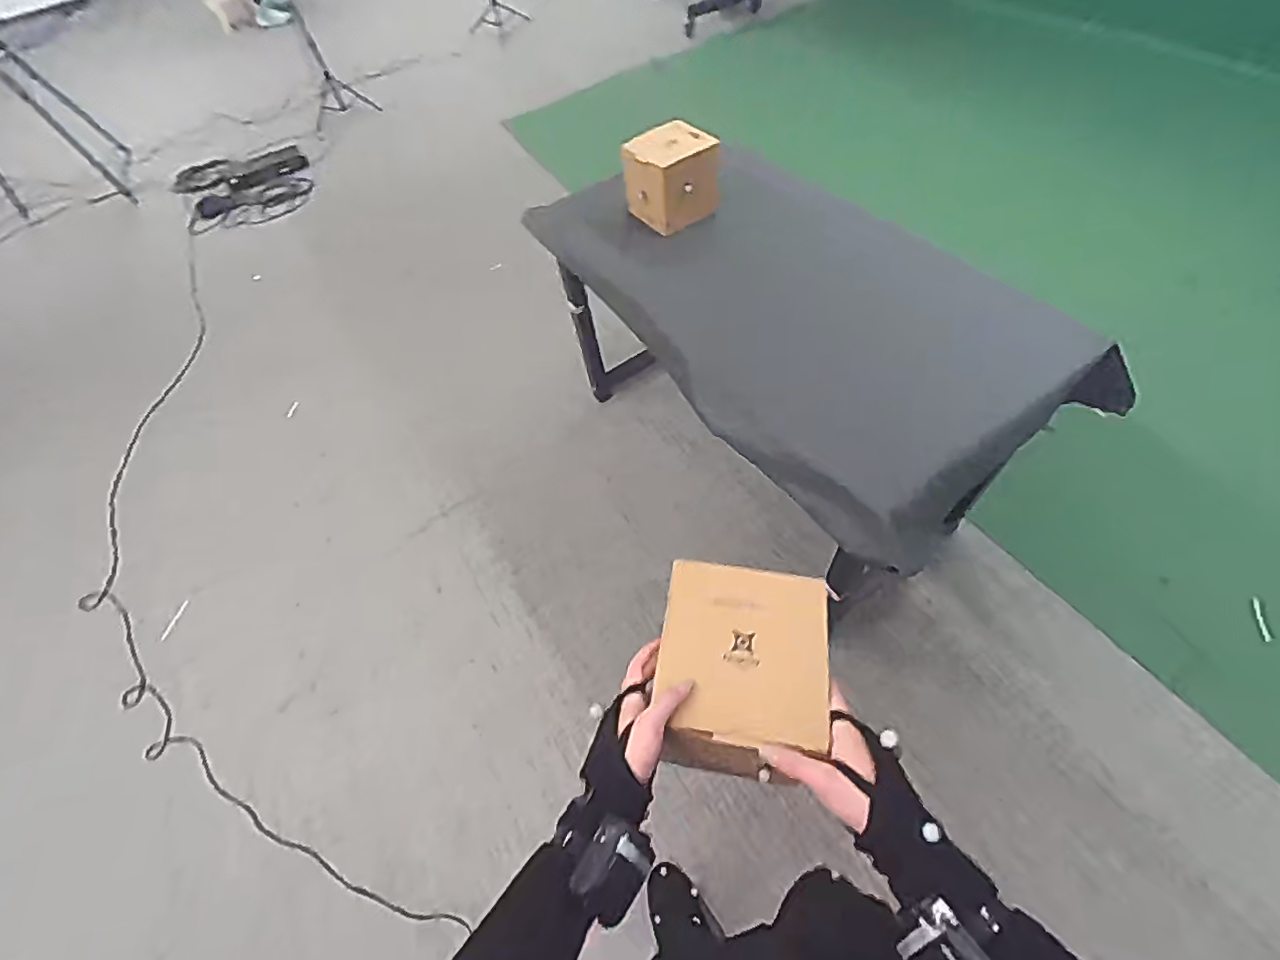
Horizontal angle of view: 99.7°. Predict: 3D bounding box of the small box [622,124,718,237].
[{"bbox_3d":[0.080,-0.739,1.345,0.179,0.176,0.168,-34,60,-14],"label":"small box"}]
